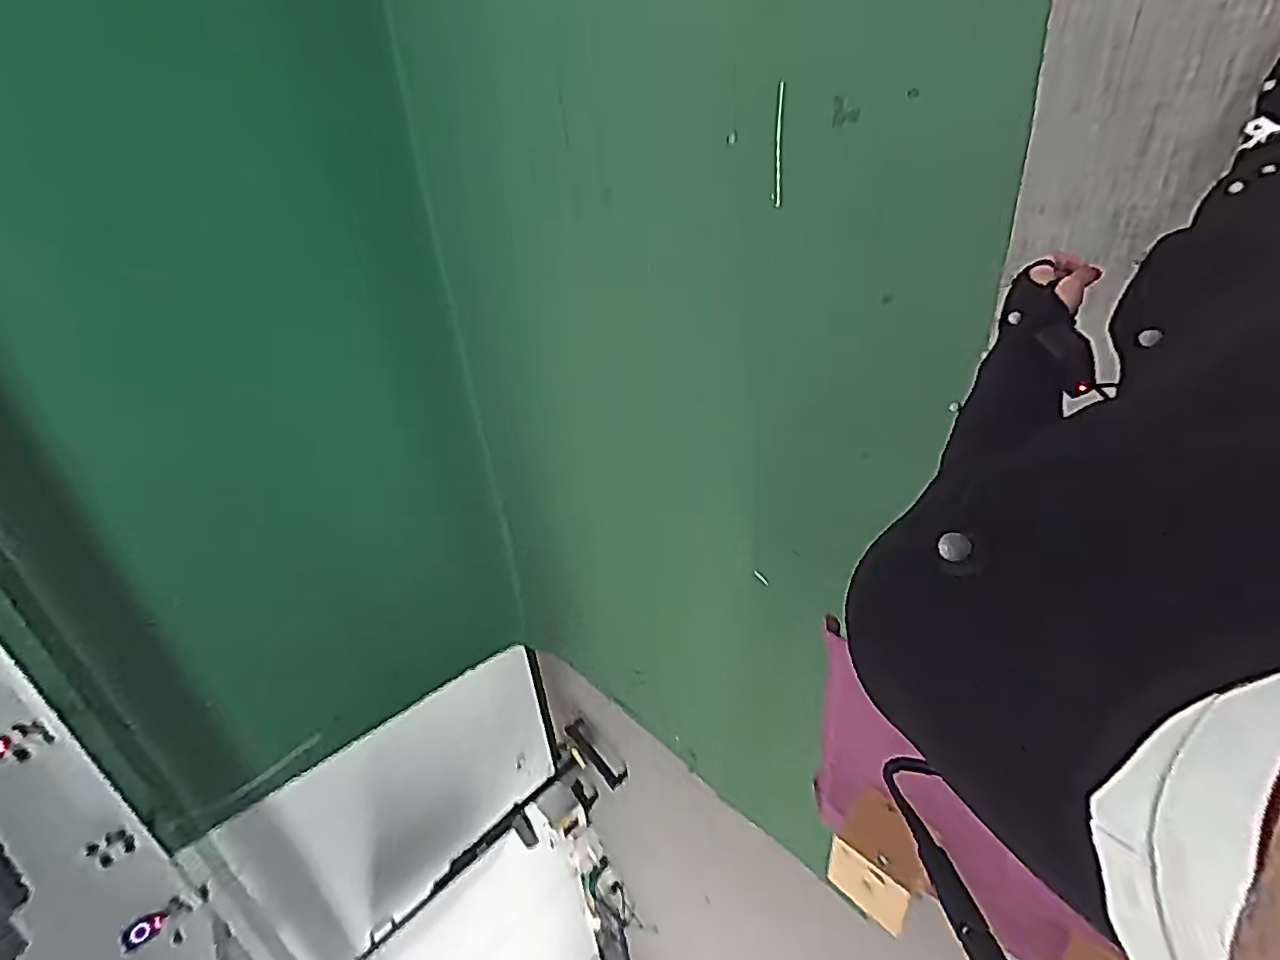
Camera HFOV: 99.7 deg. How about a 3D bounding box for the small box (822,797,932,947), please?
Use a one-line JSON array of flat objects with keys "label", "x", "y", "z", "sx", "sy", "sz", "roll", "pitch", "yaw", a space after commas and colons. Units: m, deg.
[{"label": "small box", "x": 0.531, "y": 0.869, "z": 1.213, "sx": 0.168, "sy": 0.176, "sz": 0.179, "roll": 22, "pitch": 126, "yaw": 41}]
